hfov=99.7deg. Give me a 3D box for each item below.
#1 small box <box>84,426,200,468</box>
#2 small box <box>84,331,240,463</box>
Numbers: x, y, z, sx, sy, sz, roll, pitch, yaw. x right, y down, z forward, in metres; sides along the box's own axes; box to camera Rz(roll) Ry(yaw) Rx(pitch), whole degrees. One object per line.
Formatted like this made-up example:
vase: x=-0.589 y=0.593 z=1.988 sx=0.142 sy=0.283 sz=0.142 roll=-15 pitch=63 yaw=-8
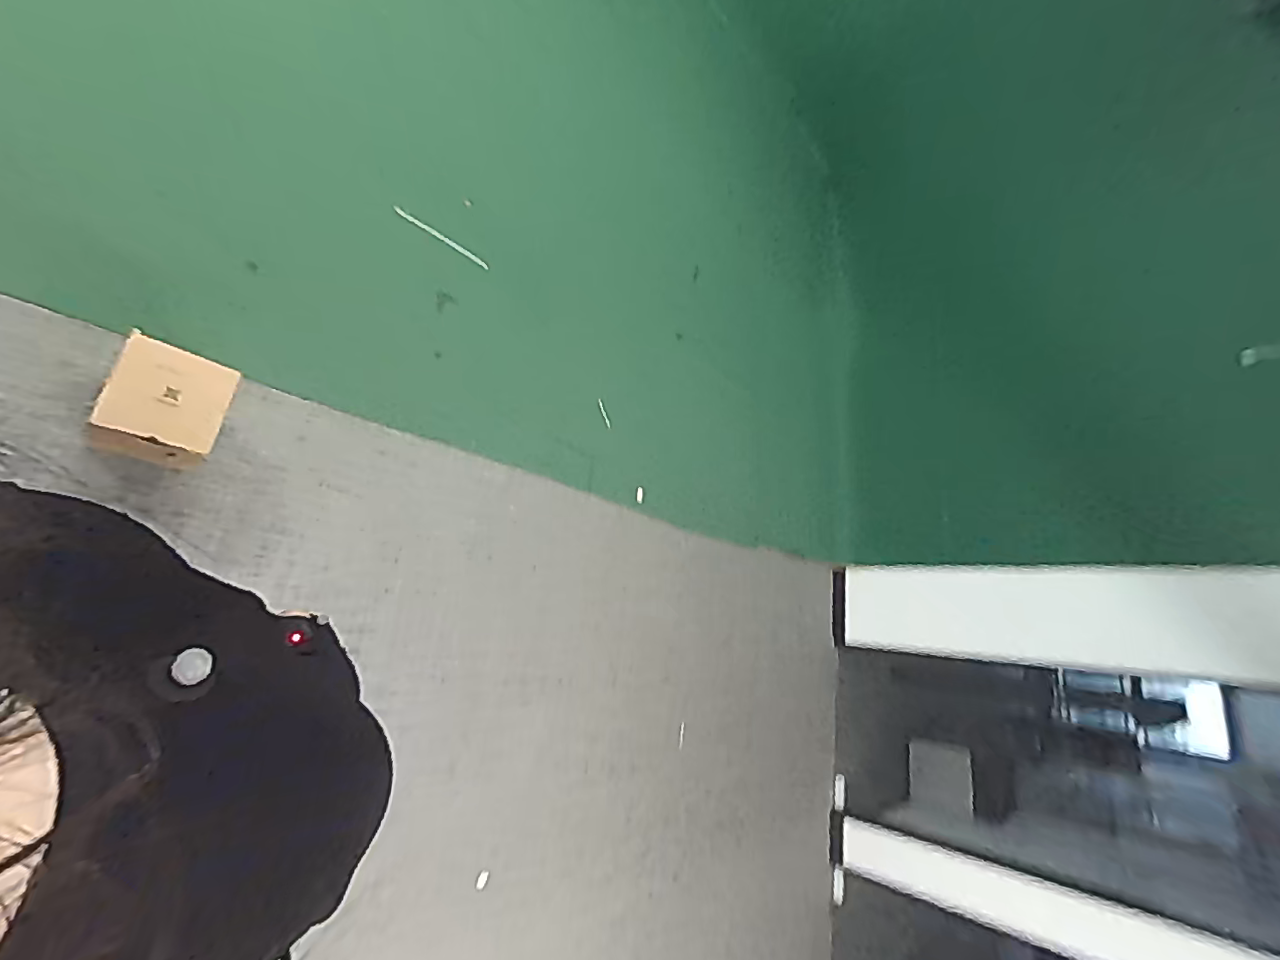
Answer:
small box: x=-0.998 y=-0.132 z=1.115 sx=0.179 sy=0.176 sz=0.168 roll=27 pitch=66 yaw=-43
small box: x=-0.884 y=-0.140 z=1.002 sx=0.168 sy=0.176 sz=0.179 roll=25 pitch=66 yaw=-43
